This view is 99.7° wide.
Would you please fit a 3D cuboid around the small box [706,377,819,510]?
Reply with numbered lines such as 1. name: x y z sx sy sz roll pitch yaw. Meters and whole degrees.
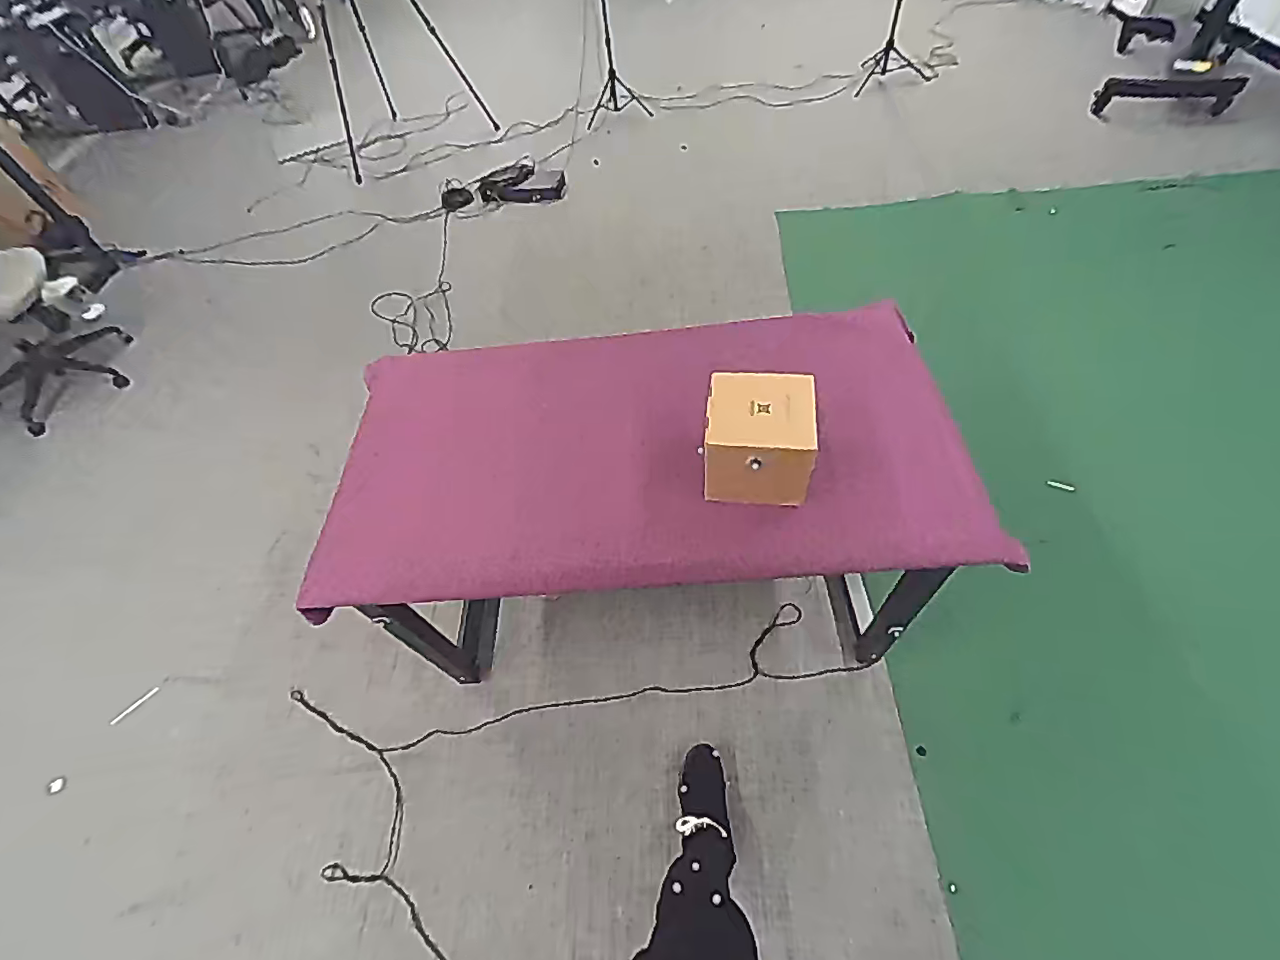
1. small box: 0.211 -0.060 0.948 0.179 0.176 0.168 4 55 10
